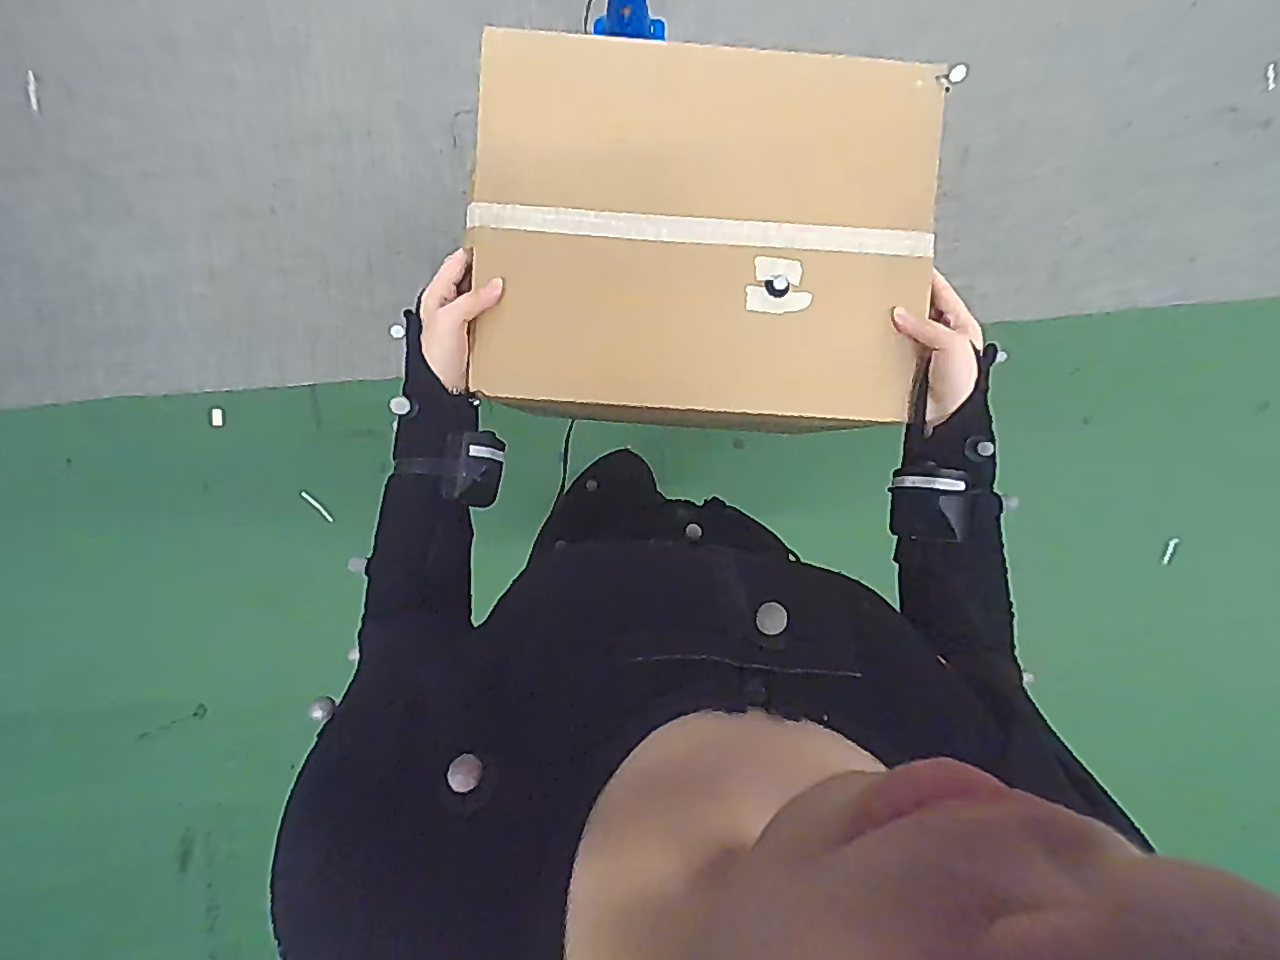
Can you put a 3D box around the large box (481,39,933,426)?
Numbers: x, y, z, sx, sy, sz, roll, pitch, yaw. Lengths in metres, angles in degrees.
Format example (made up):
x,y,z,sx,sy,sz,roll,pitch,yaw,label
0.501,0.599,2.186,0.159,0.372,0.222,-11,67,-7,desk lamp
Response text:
x,y,z,sx,sy,sz,roll,pitch,yaw,label
0.052,-0.231,0.632,0.408,0.320,0.320,3,94,-3,large box

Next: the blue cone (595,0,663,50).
x,y,z,sx,sy,sz,roll,pitch,yaw,label
-0.032,-1.172,1.344,0.193,0.380,0.192,4,91,0,blue cone
